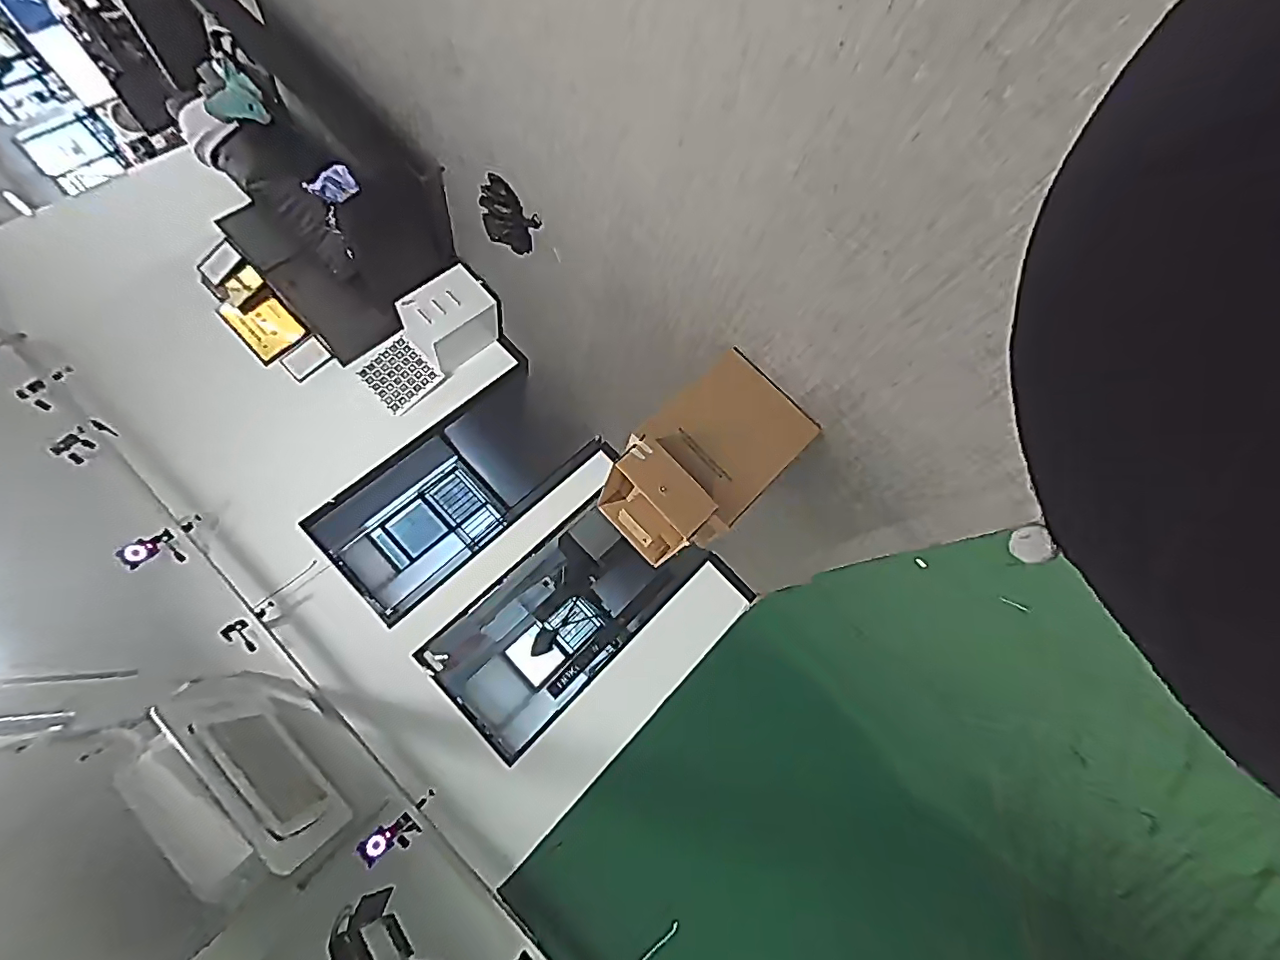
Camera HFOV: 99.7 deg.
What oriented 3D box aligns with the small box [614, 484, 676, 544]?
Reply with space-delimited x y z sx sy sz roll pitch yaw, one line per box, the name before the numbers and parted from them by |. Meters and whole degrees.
small box | 0.019 0.134 2.212 0.179 0.176 0.168 48 162 7
